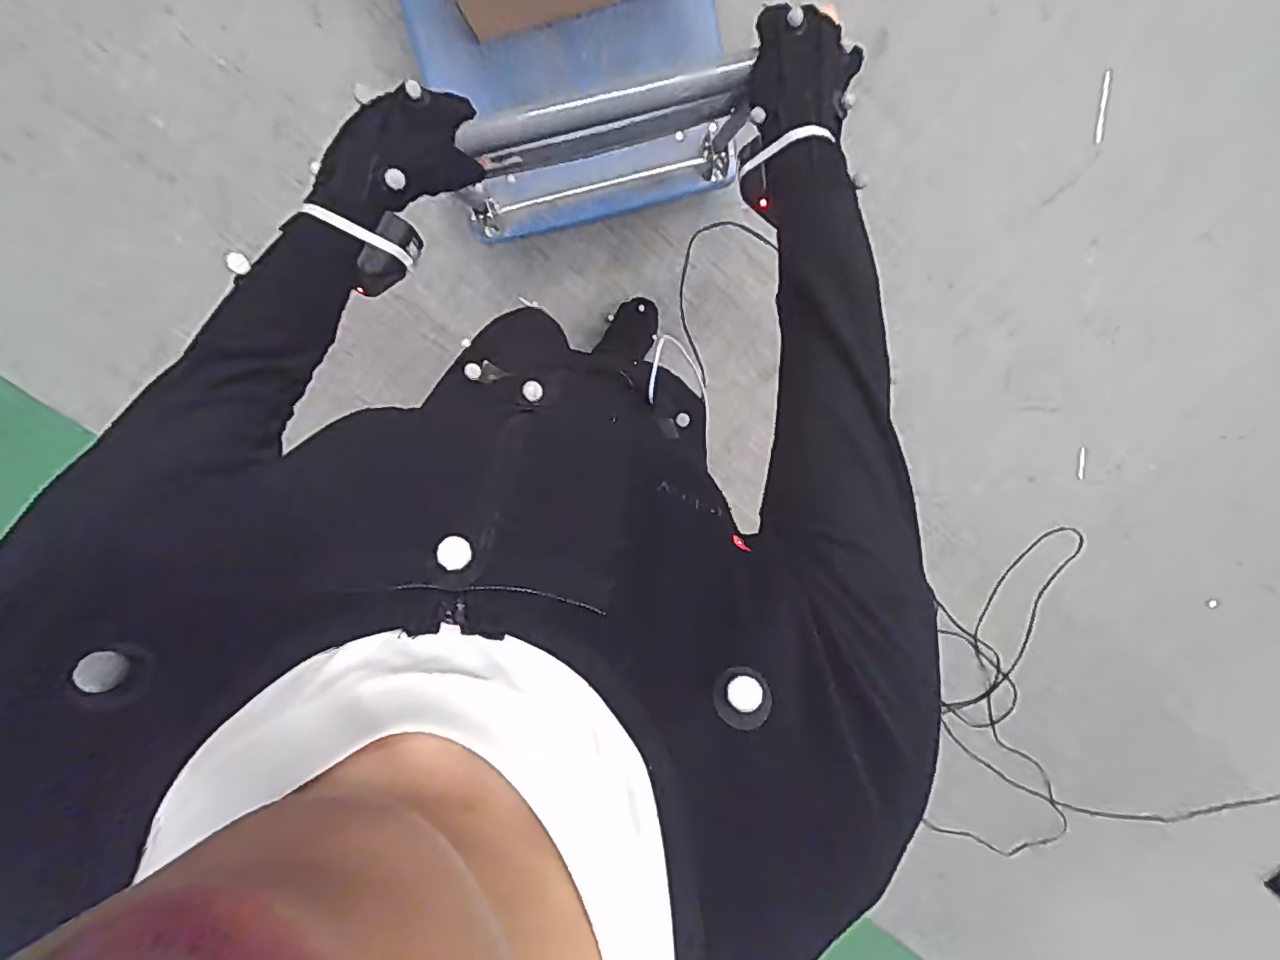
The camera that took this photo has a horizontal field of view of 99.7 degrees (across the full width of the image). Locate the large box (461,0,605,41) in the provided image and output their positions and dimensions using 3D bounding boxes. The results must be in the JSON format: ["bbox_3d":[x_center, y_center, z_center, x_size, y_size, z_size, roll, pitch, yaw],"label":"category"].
[{"bbox_3d":[-0.142,-0.976,0.834,0.408,0.320,0.320,-15,108,4],"label":"large box"}]
